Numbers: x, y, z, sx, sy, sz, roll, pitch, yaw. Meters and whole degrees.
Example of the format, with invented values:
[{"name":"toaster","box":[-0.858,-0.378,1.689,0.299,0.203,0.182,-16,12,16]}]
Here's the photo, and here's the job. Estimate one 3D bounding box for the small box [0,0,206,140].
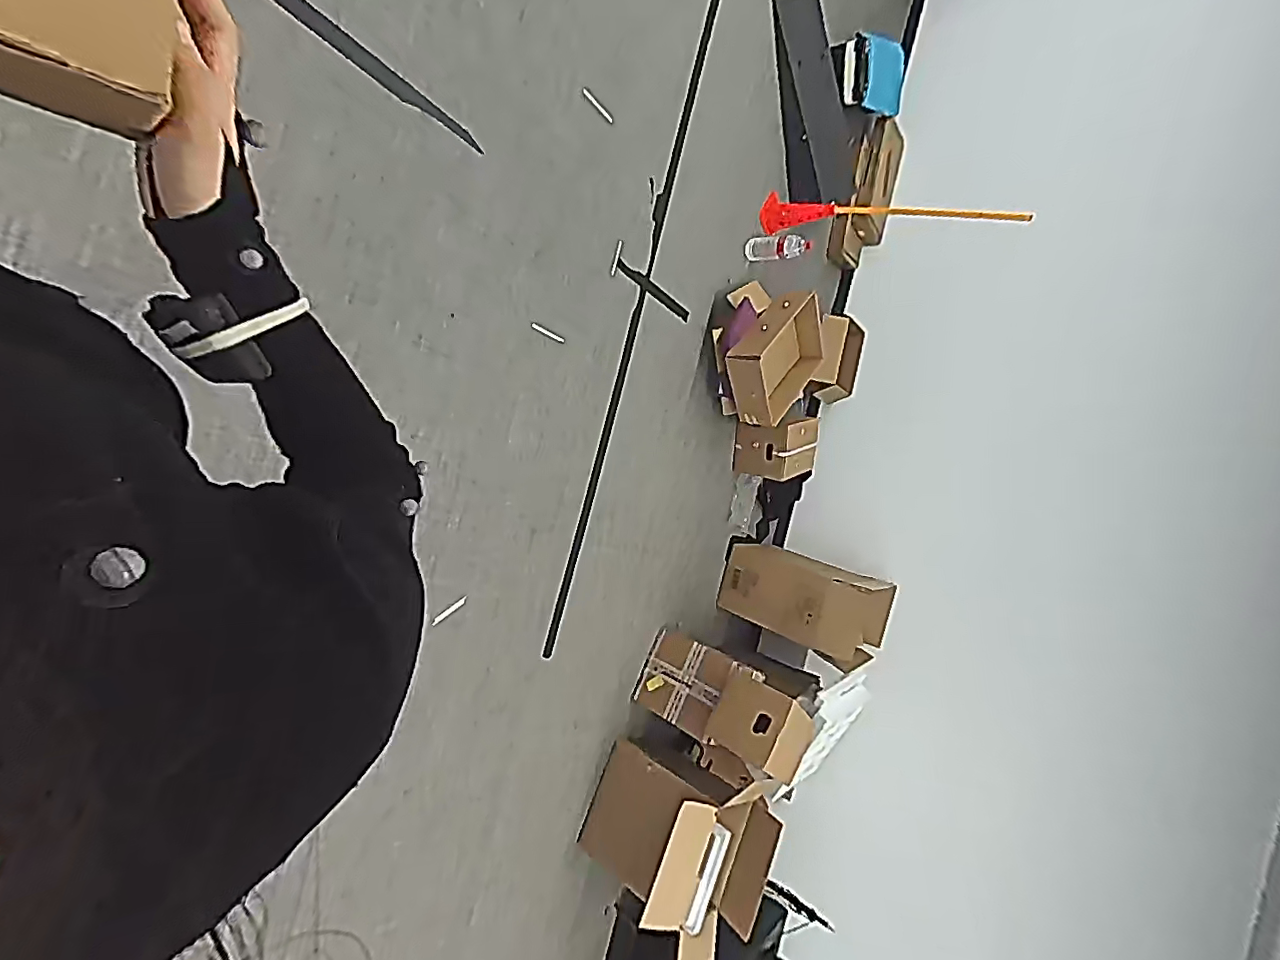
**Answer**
[{"name":"small box","box":[-0.285,-0.267,0.213,0.168,0.176,0.179,2,108,-46]}]
